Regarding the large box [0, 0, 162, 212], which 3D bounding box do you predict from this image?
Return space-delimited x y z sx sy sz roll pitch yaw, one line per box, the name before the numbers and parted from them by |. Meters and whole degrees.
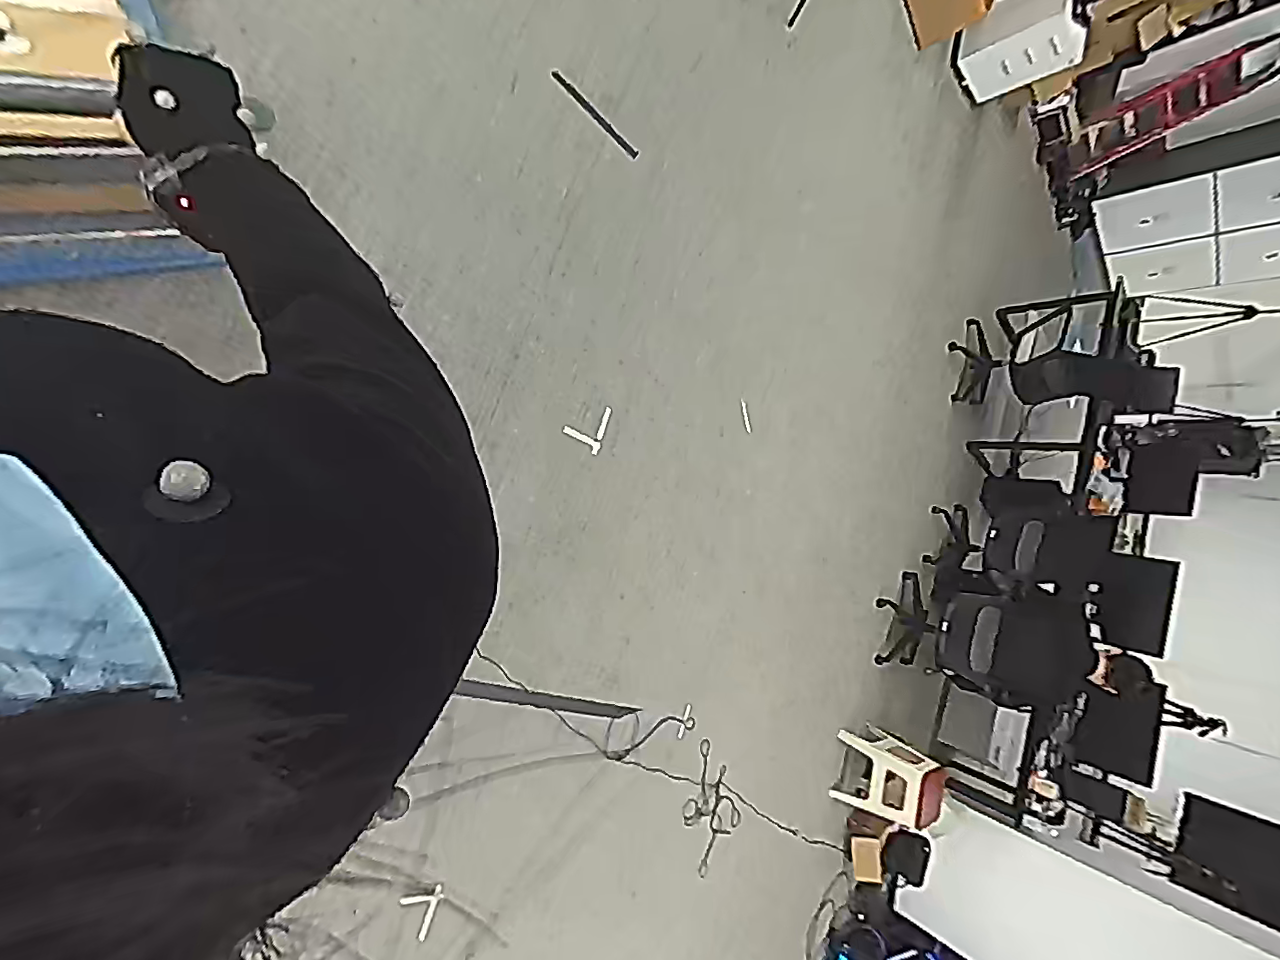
large box | -0.947 -0.561 0.712 0.408 0.320 0.320 -25 110 -38
